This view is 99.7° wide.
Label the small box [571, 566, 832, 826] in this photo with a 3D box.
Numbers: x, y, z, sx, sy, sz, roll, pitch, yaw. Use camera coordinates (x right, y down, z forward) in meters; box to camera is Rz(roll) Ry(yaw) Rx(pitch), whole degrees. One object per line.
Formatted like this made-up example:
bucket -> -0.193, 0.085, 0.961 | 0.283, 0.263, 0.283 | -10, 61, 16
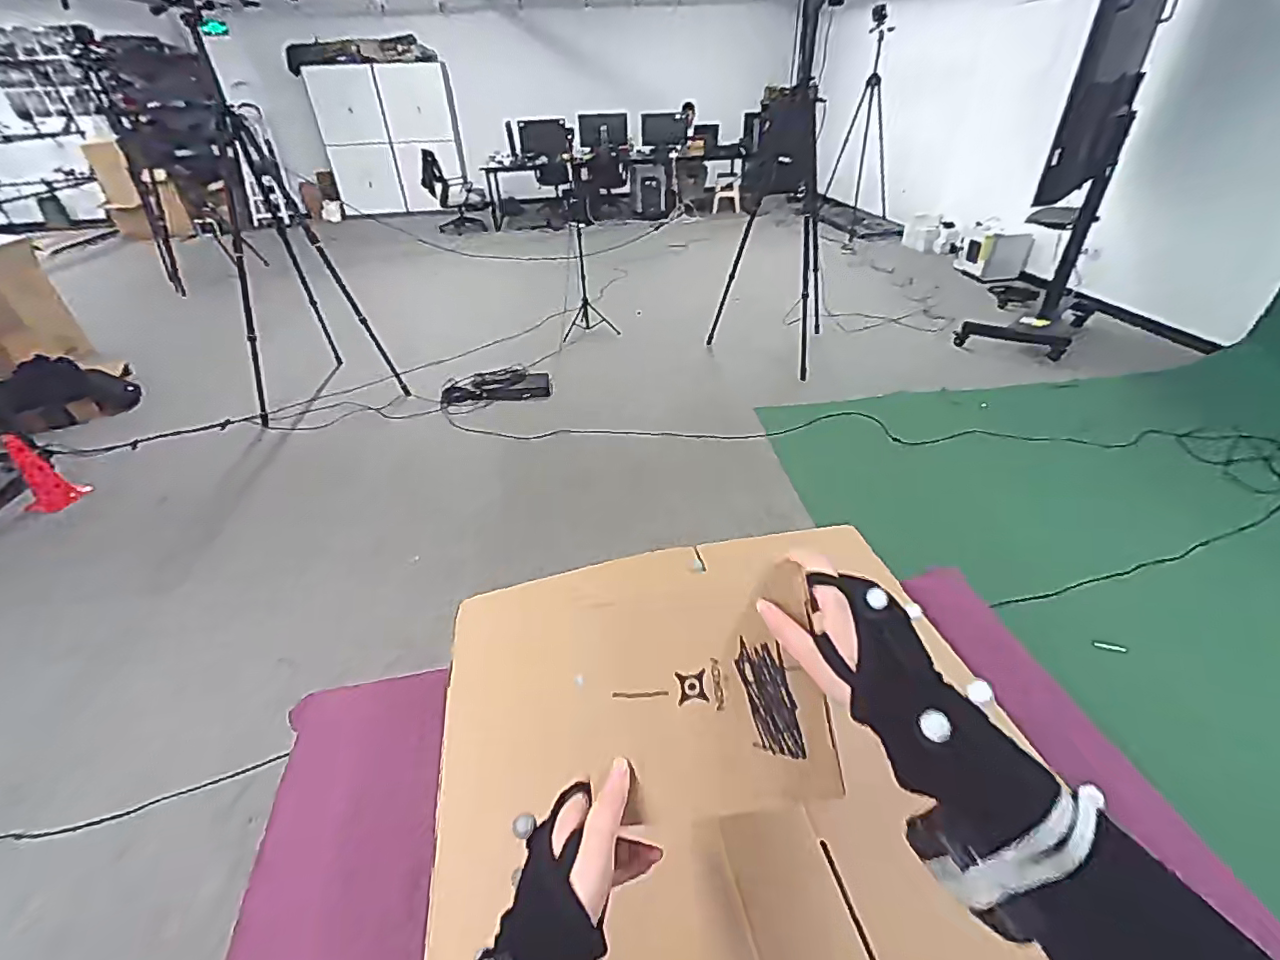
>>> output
small box -> 0.041, 0.175, 0.475 | 0.179, 0.176, 0.168 | -7, 73, -1
